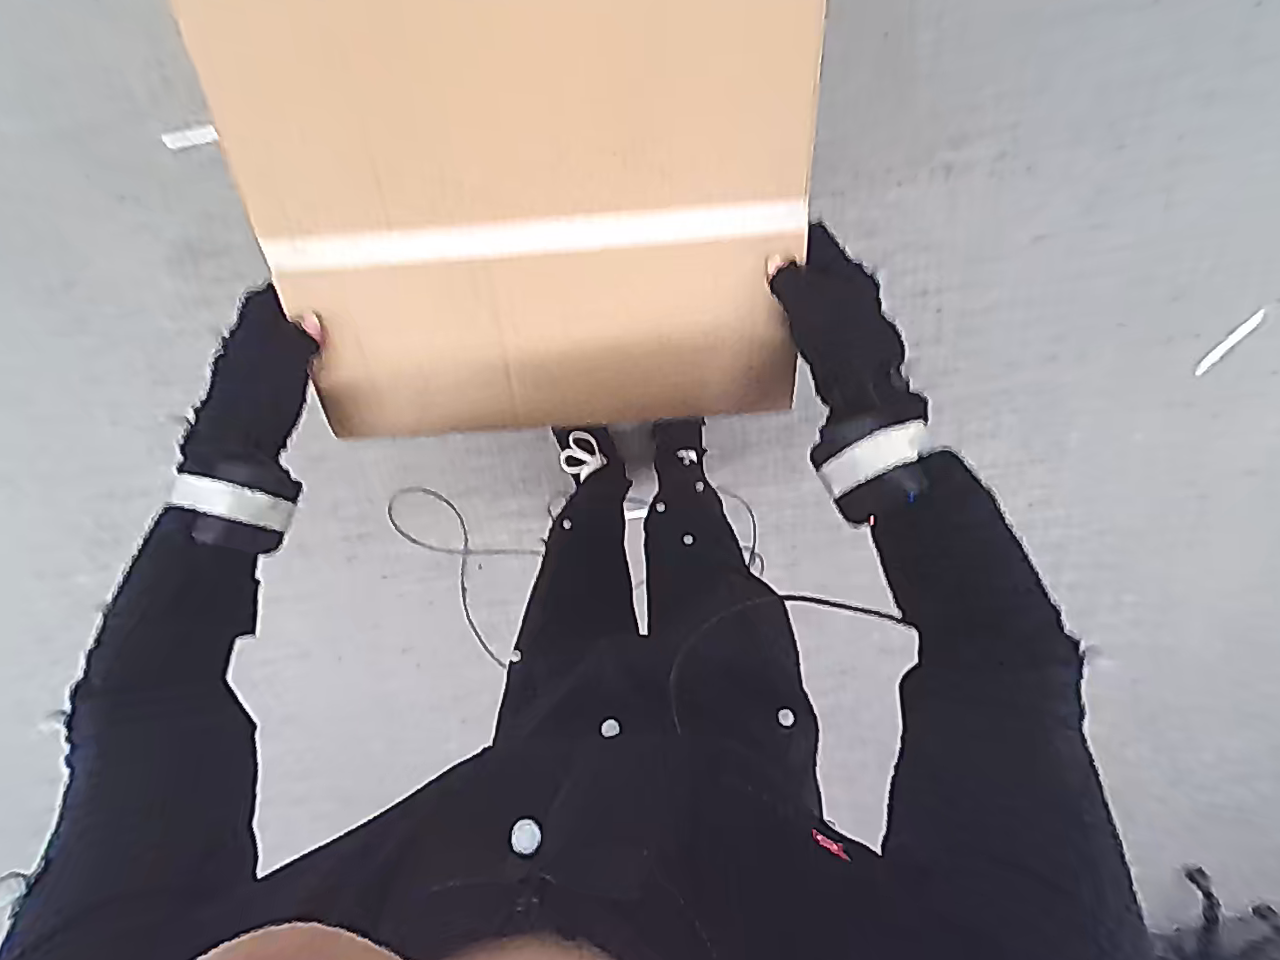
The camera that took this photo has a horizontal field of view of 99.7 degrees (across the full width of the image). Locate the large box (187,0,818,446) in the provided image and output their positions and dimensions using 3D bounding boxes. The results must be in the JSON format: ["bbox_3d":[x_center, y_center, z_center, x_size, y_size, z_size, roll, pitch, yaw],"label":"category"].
[{"bbox_3d":[-0.076,-0.251,0.532,0.408,0.320,0.320,-4,119,2],"label":"large box"}]
